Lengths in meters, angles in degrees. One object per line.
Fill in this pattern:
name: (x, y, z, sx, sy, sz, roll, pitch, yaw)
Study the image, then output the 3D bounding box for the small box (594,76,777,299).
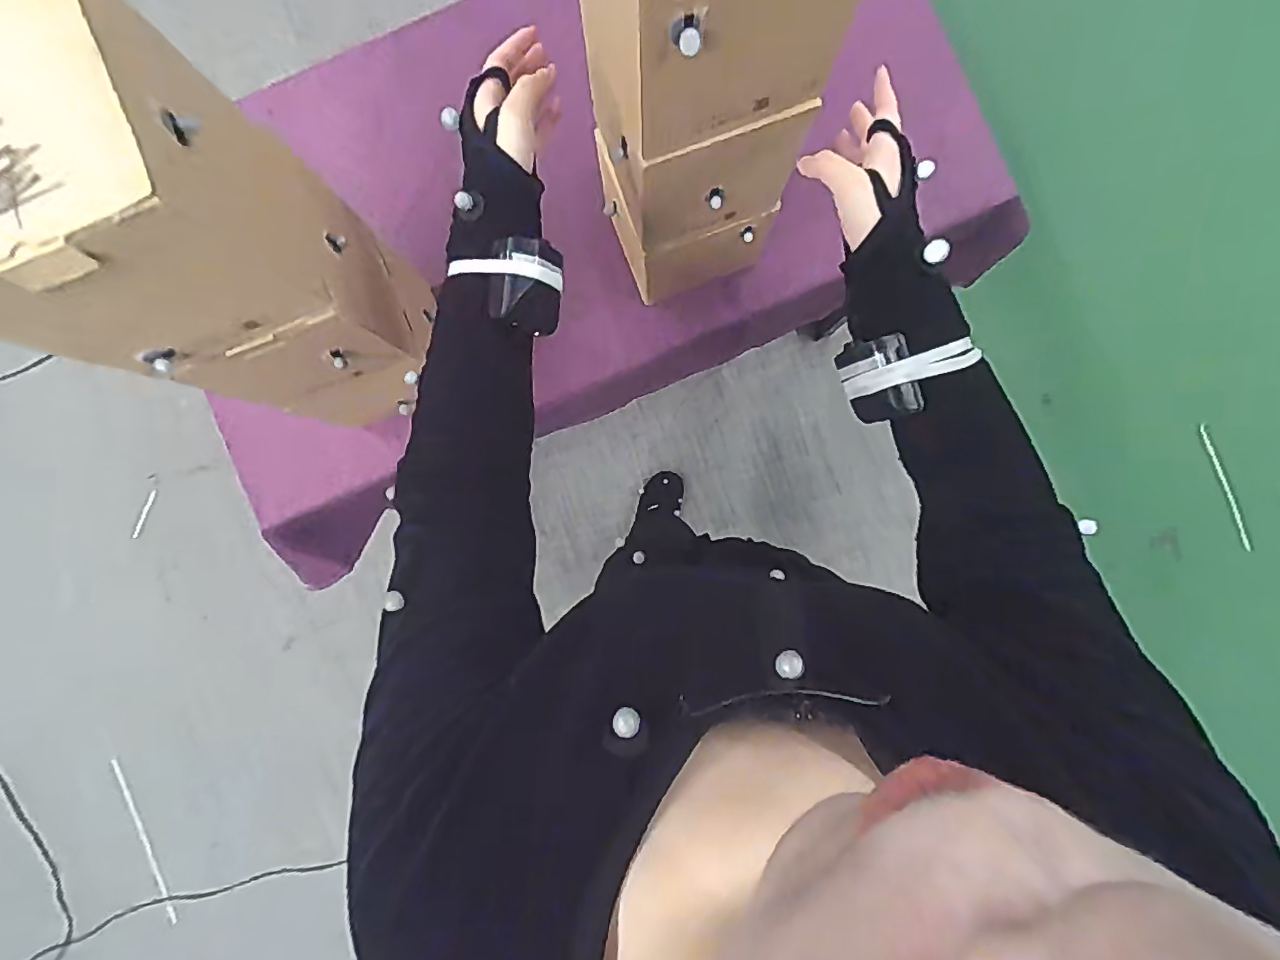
small box: (0.055, -0.364, 0.709, 0.179, 0.176, 0.168, -21, 88, 0)

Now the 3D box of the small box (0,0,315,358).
small box: (-0.376, -0.202, 0.385, 0.168, 0.176, 0.179, -23, 87, 0)

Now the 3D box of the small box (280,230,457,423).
small box: (-0.362, -0.188, 0.712, 0.179, 0.176, 0.168, -22, 88, 0)

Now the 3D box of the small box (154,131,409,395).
small box: (-0.366, -0.196, 0.549, 0.168, 0.176, 0.179, -20, 88, 0)
